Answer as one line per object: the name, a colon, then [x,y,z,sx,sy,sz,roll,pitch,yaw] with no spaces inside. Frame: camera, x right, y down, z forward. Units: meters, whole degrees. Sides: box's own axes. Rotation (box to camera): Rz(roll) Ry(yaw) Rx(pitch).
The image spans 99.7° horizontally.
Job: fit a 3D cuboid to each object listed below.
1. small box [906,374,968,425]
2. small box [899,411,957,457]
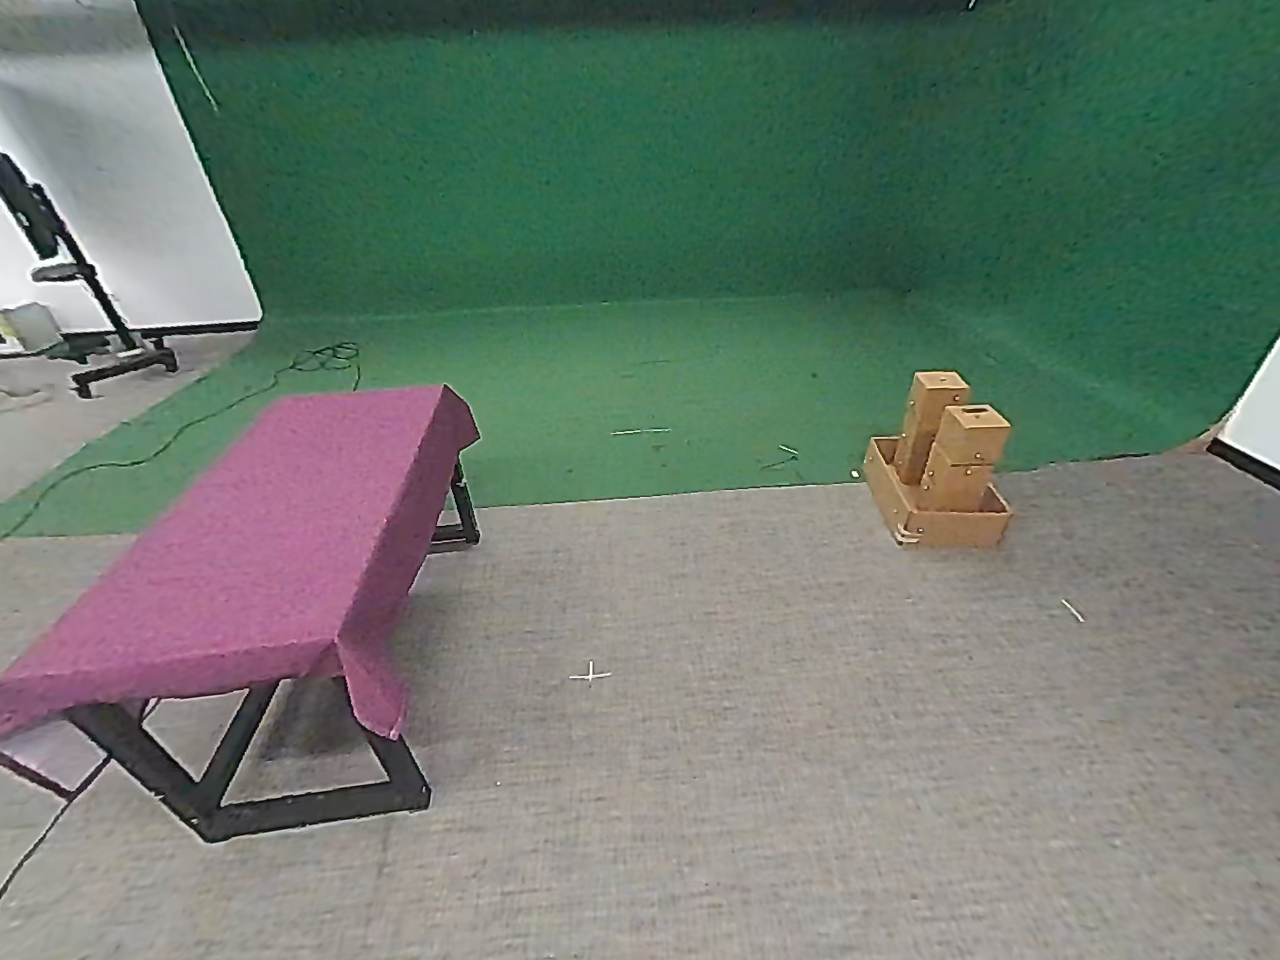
small box: [1.302,-0.353,2.383,0.179,0.176,0.168,0,35,7]
small box: [1.313,-0.215,2.473,0.179,0.176,0.168,1,35,8]
